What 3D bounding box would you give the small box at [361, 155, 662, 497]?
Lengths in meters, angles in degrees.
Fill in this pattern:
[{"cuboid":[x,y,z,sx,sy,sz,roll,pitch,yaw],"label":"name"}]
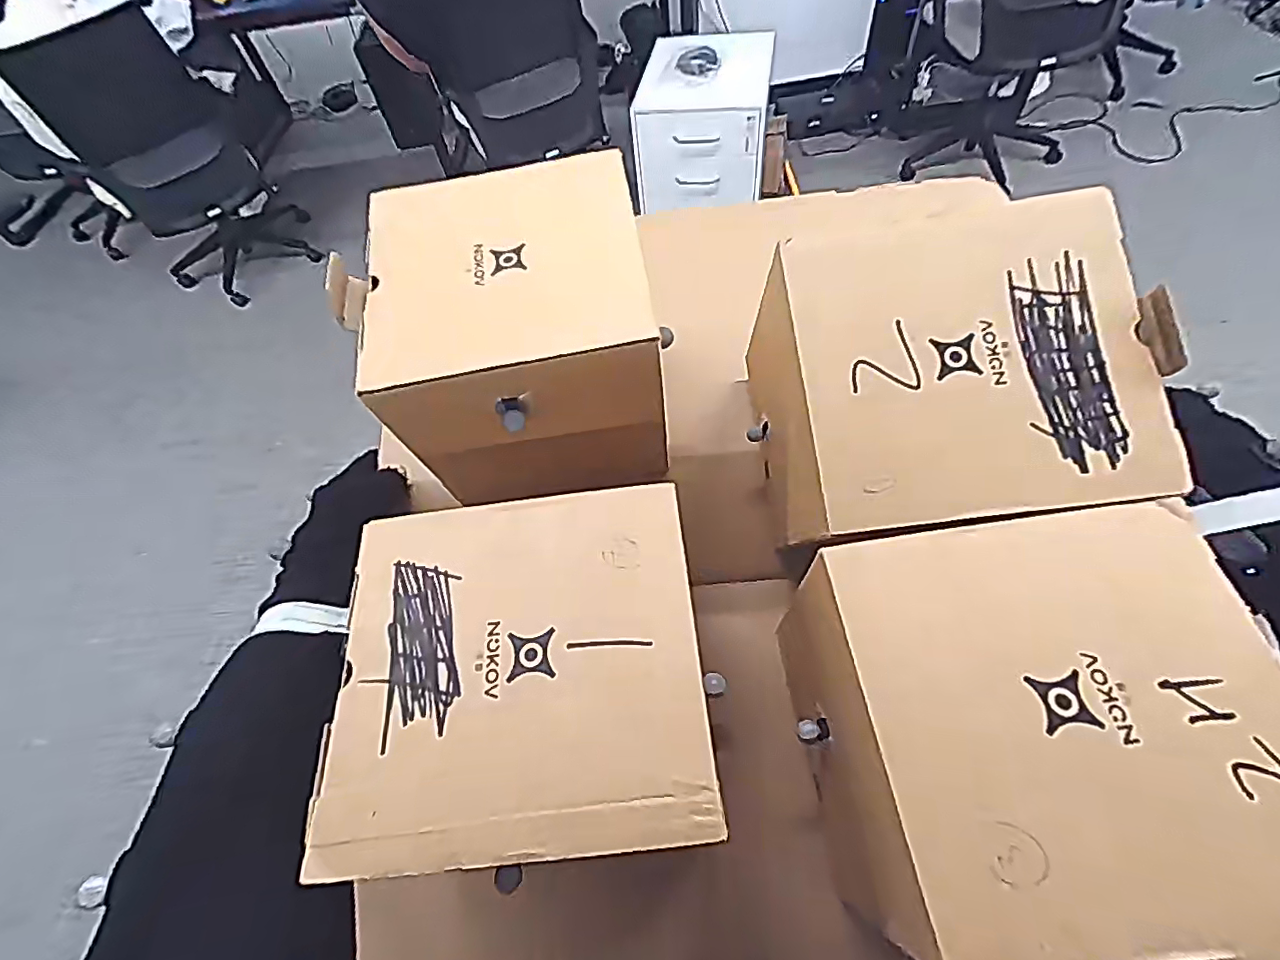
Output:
[{"cuboid":[-0.081,-0.103,0.415,0.179,0.176,0.168,-12,65,2],"label":"small box"}]
